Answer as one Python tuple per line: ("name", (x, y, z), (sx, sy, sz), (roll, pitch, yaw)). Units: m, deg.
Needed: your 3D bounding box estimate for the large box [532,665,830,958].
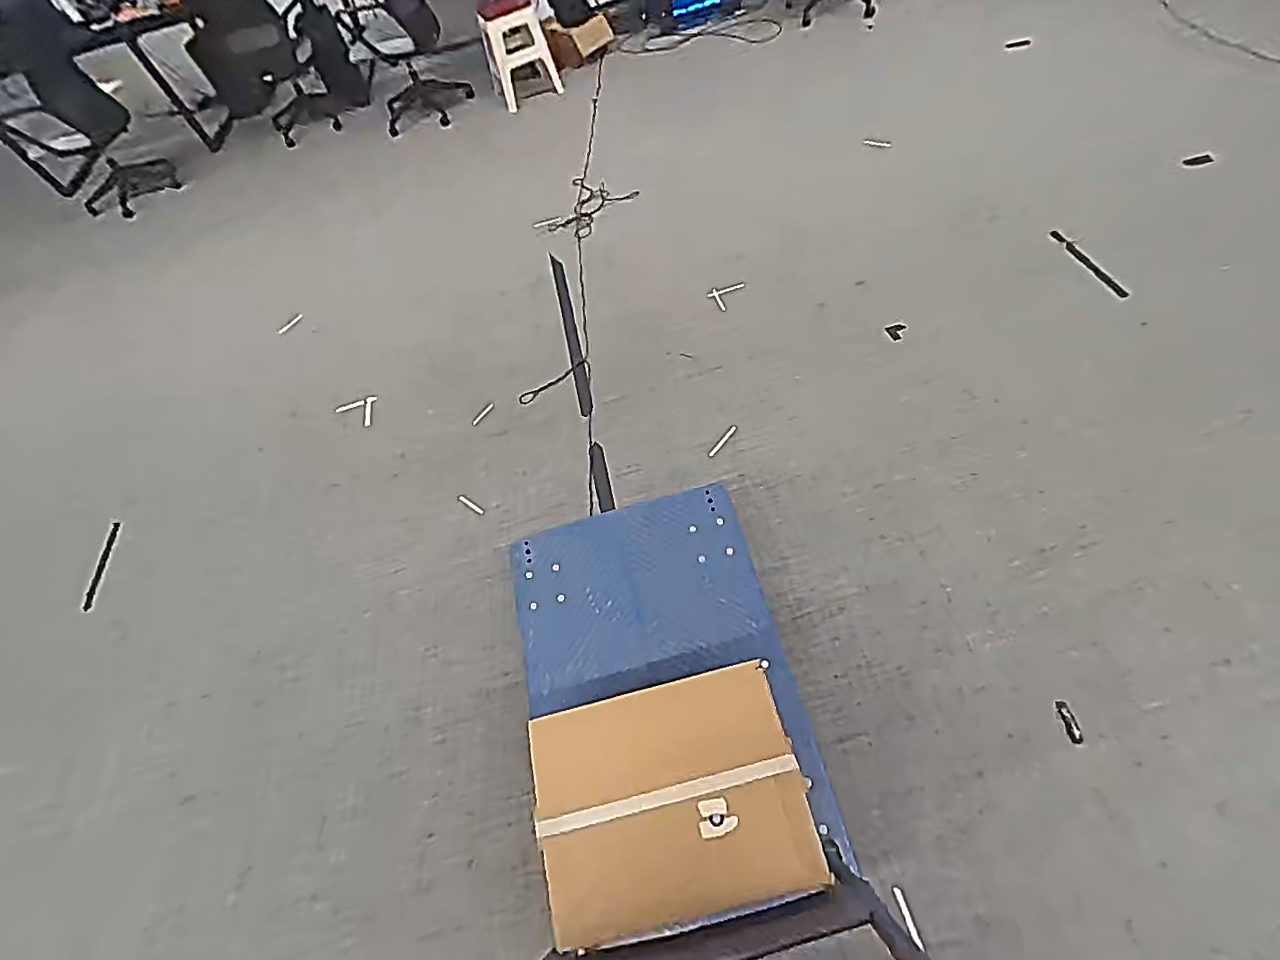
("large box", (0.063, 0.559, 0.963), (0.408, 0.320, 0.320), (-16, 63, 0))
